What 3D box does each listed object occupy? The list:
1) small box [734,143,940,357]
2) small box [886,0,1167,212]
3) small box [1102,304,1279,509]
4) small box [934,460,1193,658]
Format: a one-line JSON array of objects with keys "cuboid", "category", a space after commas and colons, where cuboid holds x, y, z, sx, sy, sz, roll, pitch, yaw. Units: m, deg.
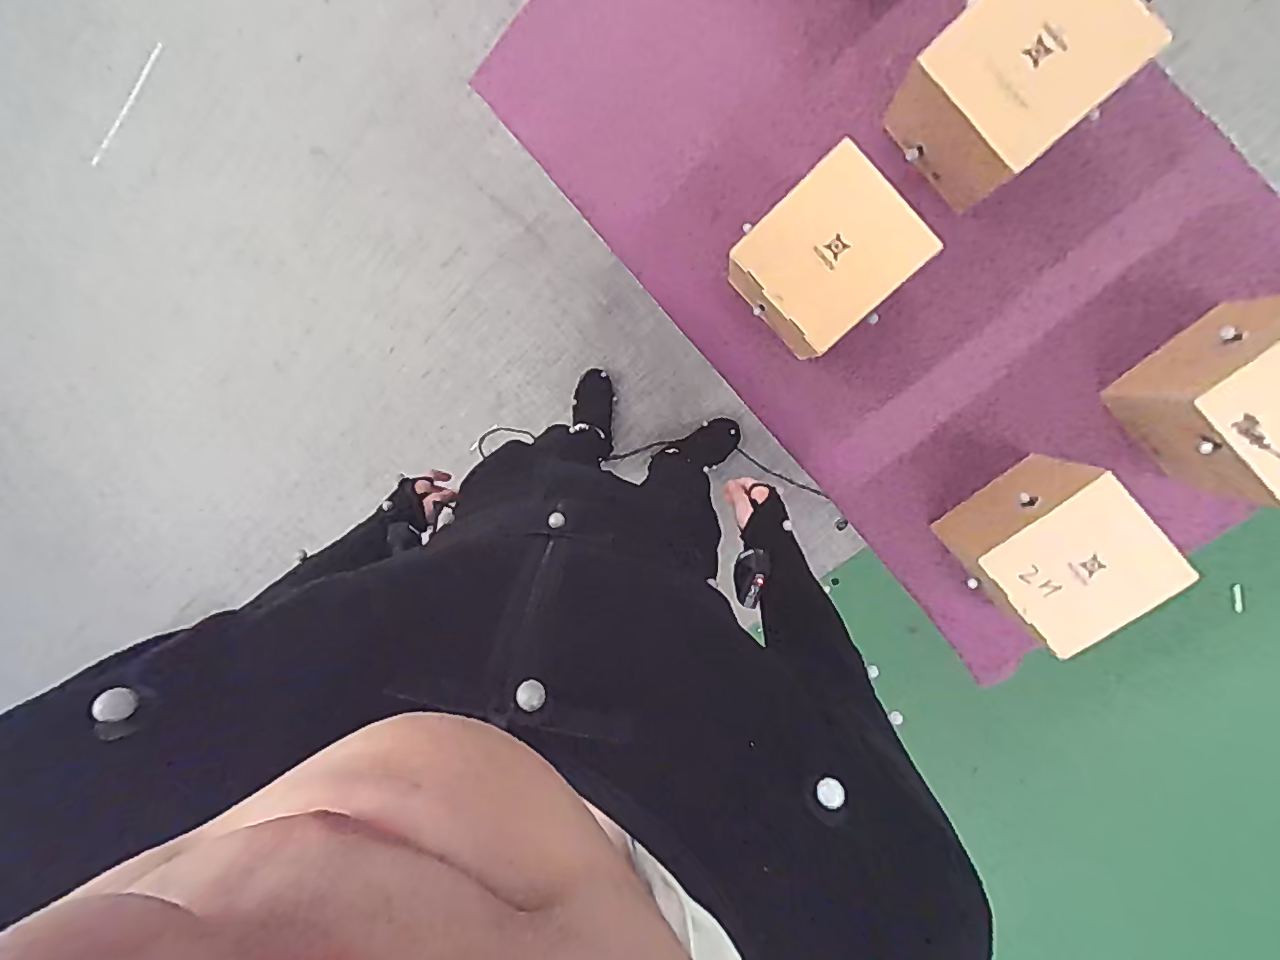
[{"cuboid": [0.237, -0.280, 0.703, 0.179, 0.176, 0.168, -42, 92, 15], "category": "small box"}, {"cuboid": [0.425, -0.457, 0.634, 0.179, 0.176, 0.168, -41, 91, 16], "category": "small box"}, {"cuboid": [0.730, -0.096, 0.649, 0.179, 0.176, 0.168, -42, 91, 15], "category": "small box"}, {"cuboid": [0.536, 0.091, 0.717, 0.179, 0.176, 0.168, -40, 90, 14], "category": "small box"}]
